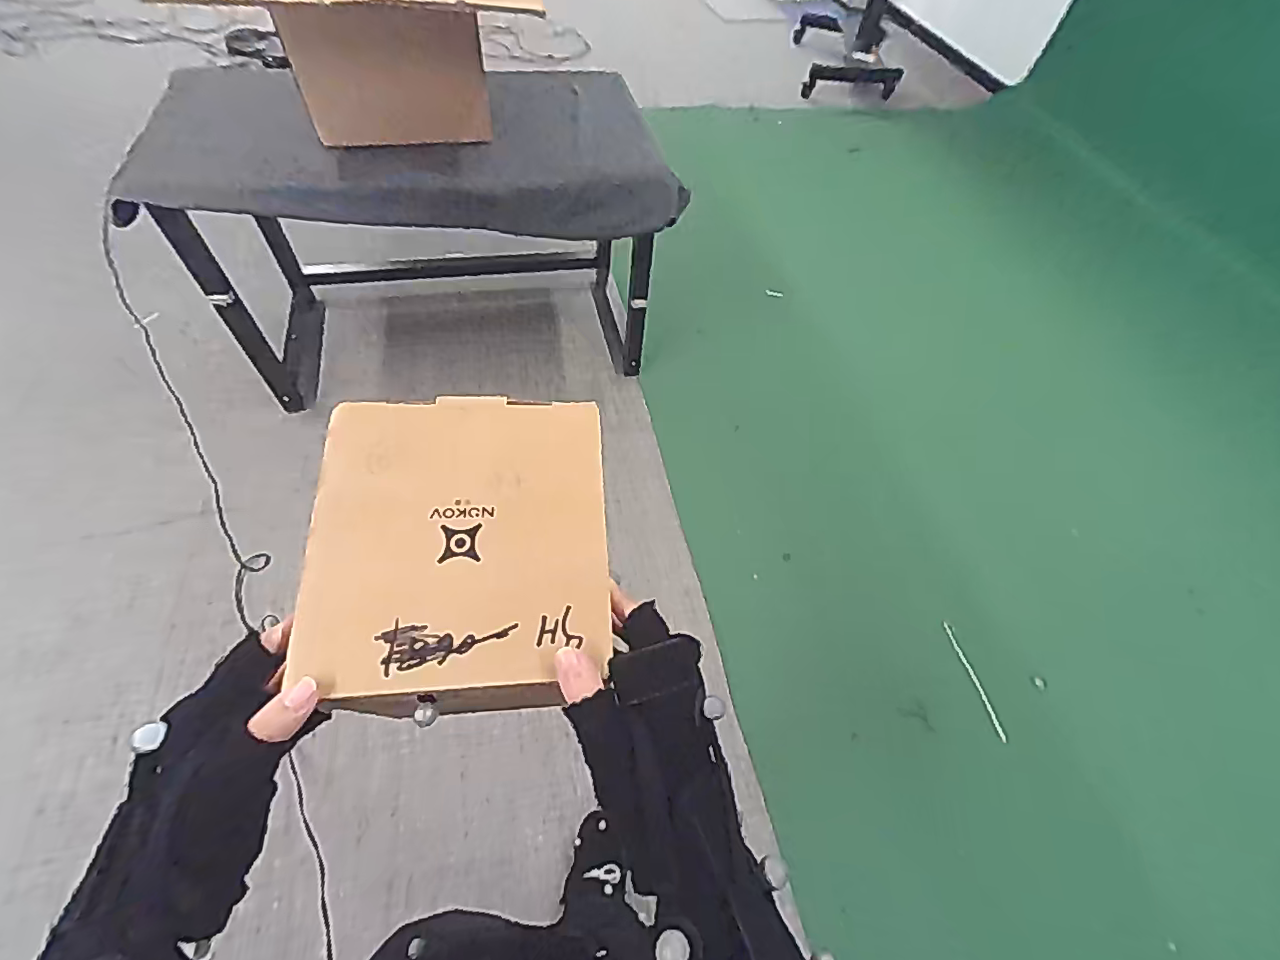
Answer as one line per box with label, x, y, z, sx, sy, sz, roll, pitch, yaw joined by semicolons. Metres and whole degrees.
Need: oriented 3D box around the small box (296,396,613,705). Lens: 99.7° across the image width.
small box;-0.110;0.057;0.394;0.168;0.176;0.179;-2;63;-7
